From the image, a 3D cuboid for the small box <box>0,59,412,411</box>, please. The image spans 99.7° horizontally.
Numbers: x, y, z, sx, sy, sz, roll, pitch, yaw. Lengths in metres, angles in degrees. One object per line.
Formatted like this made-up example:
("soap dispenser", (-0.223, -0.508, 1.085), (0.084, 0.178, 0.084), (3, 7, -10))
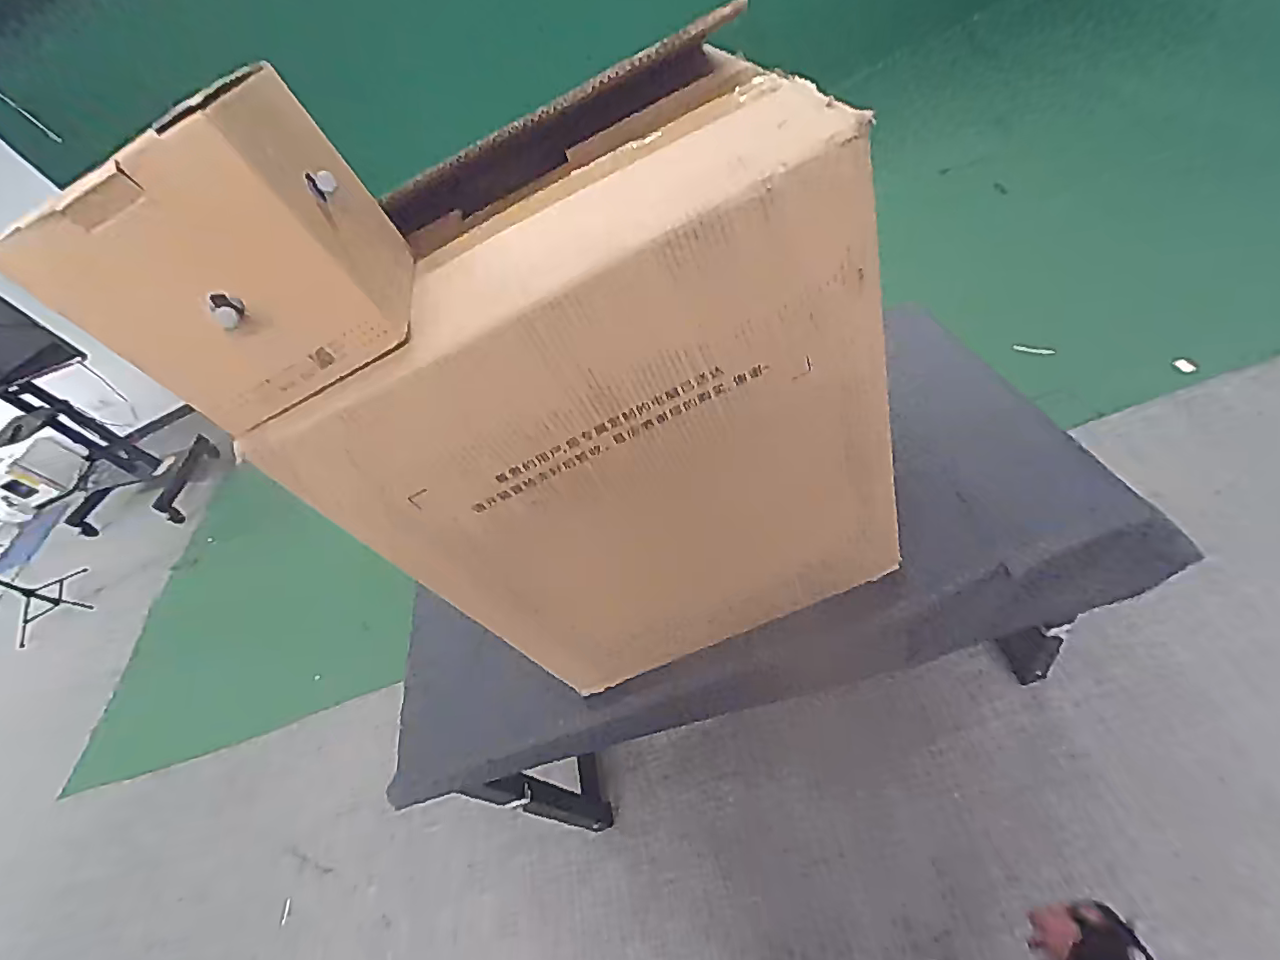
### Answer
("small box", (-0.302, -0.177, 0.422), (0.168, 0.176, 0.179), (-26, 47, 6))
